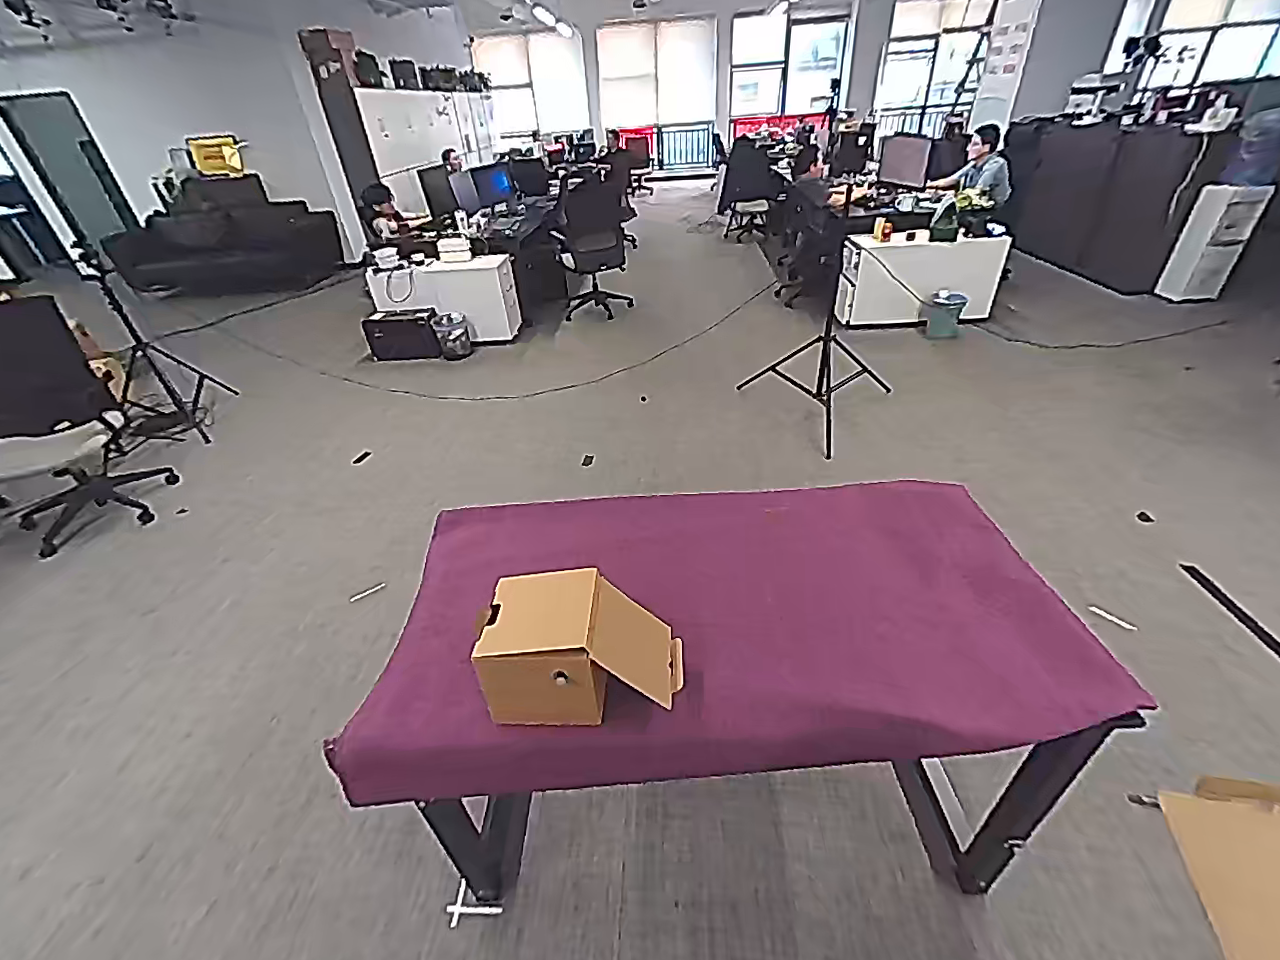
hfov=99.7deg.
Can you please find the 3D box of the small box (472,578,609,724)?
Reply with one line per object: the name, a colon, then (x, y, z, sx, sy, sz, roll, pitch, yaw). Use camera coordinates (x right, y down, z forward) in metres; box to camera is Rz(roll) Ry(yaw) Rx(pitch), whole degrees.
small box: (-0.149, 0.279, 0.886, 0.179, 0.176, 0.168, -2, 33, 4)
